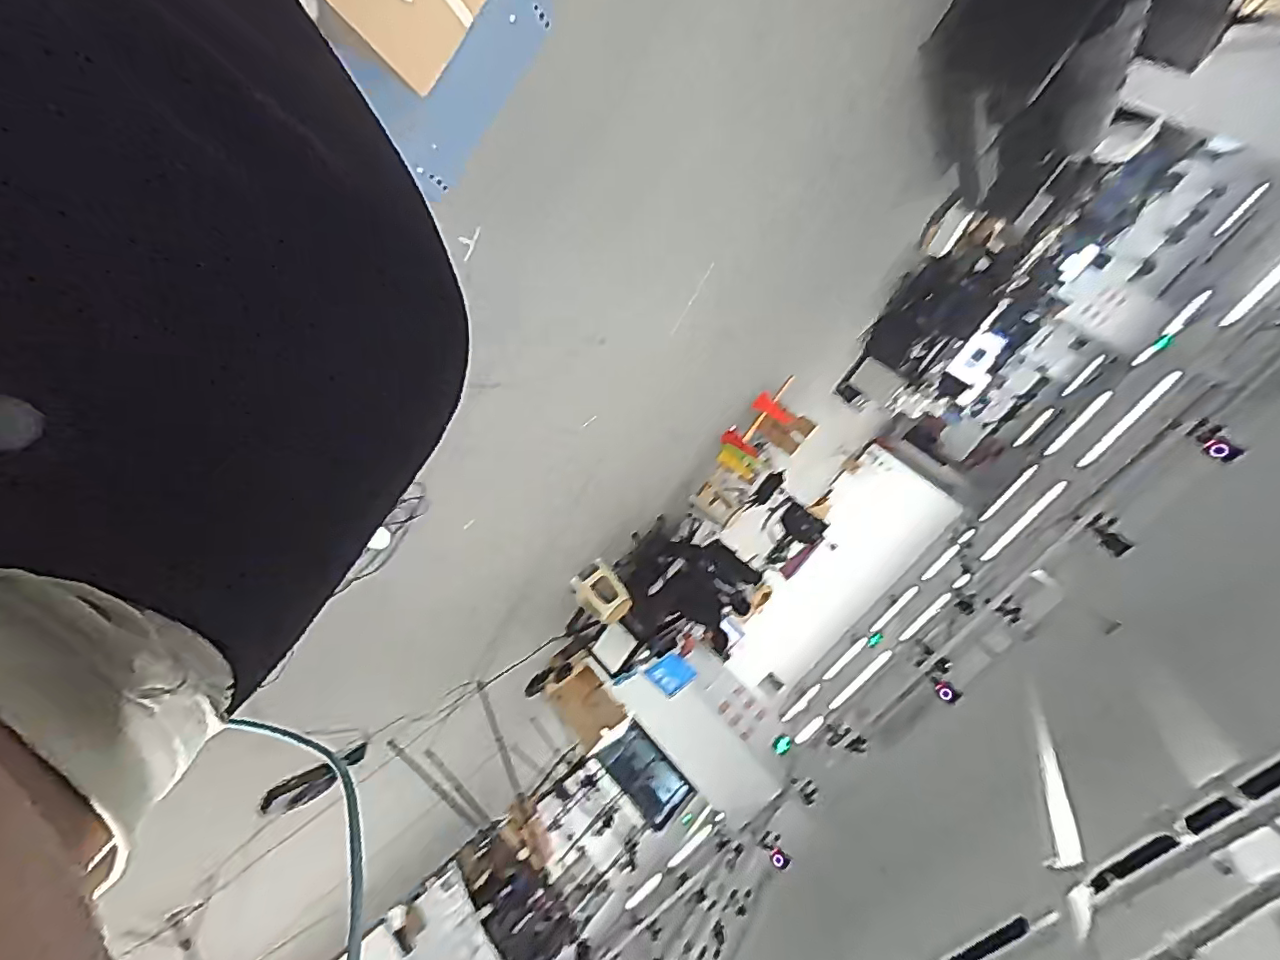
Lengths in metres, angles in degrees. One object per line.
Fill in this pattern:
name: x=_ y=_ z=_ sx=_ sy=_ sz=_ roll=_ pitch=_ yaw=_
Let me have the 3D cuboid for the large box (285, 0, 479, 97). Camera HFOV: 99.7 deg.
large box: x=-0.514 y=-0.953 z=0.875 sx=0.320 sy=0.320 sz=0.408 roll=-52 pitch=159 yaw=9
